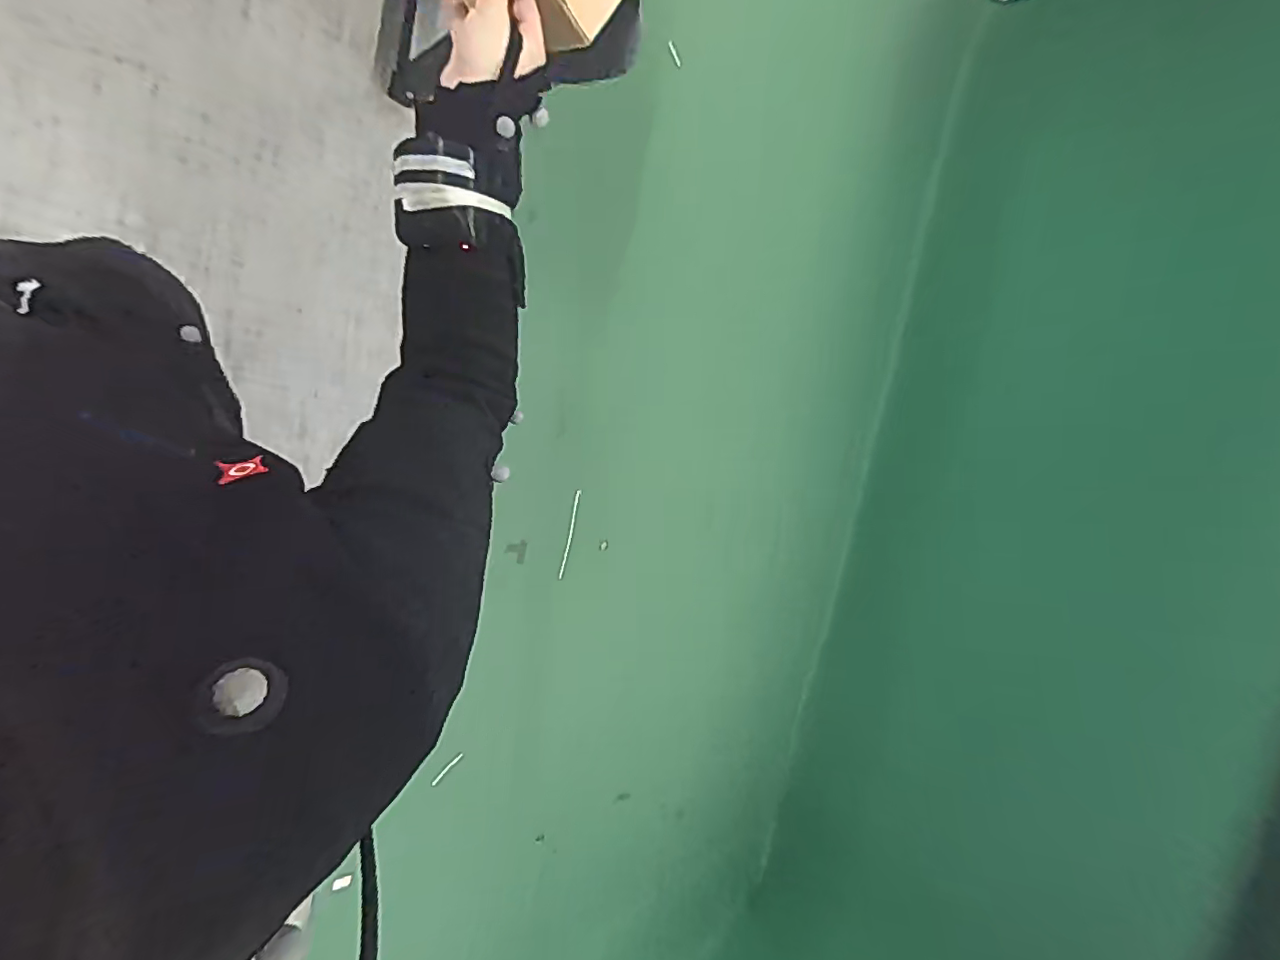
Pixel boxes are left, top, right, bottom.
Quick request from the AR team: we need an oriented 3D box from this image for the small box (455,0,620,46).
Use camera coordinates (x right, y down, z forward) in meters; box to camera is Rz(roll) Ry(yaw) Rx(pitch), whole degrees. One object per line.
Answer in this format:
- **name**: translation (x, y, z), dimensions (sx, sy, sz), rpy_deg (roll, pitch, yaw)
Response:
- **small box**: translation (-0.079, -0.465, 0.393), dimensions (0.179, 0.176, 0.168), rpy_deg (-54, 139, 1)
